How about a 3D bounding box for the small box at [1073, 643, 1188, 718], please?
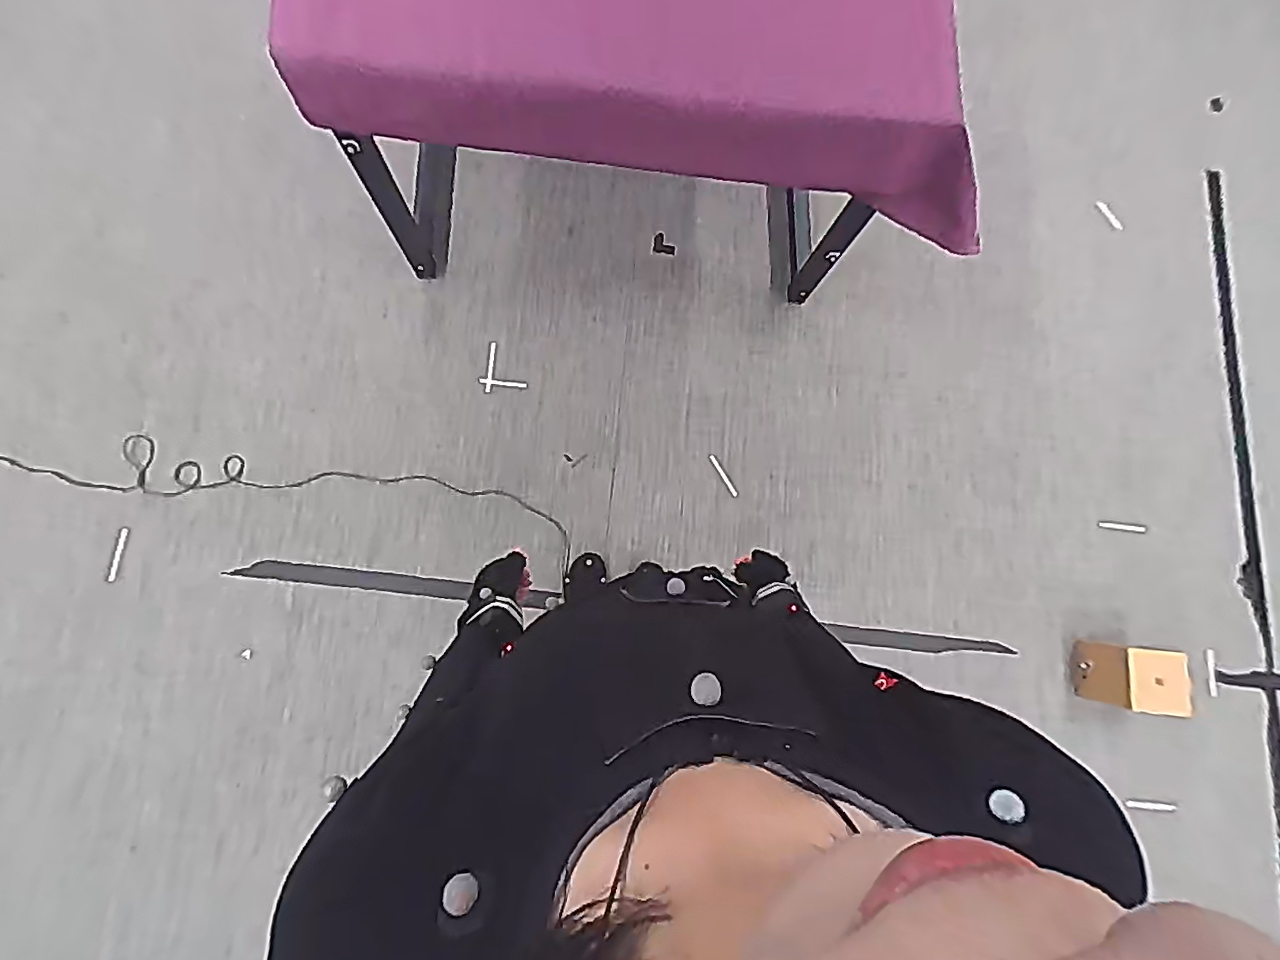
[{"bbox_3d":[1.375,0.559,1.524,0.179,0.176,0.168,6,79,-3],"label":"small box"}]
